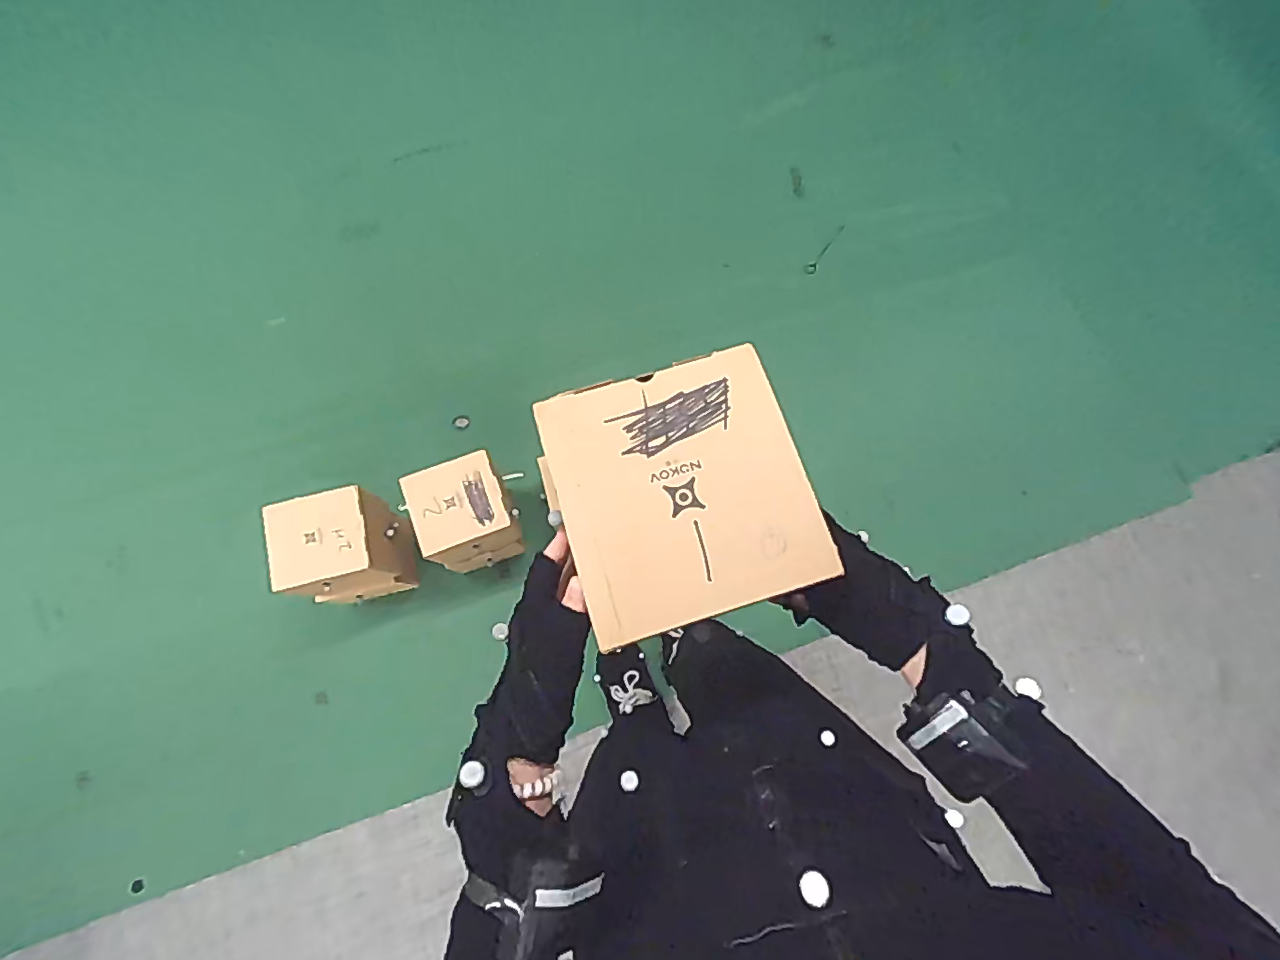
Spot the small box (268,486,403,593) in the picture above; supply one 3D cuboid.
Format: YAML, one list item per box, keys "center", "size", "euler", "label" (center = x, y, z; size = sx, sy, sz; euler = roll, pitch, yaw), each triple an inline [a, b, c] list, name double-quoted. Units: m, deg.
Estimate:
- center: [-0.606, 0.126, 1.092]
  size: [0.179, 0.176, 0.168]
  euler: [-13, 77, -7]
  label: "small box"

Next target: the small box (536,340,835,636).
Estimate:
- center: [0.025, 0.020, 0.441]
  size: [0.168, 0.176, 0.179]
  euler: [-16, 74, -4]
  label: "small box"

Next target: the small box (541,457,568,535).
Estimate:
- center: [-0.135, 0.028, 1.325]
  size: [0.179, 0.176, 0.168]
  euler: [-14, 77, -7]
  label: "small box"

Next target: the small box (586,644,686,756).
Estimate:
- center: [-0.009, 0.494, 1.236]
  size: [0.179, 0.176, 0.168]
  euler: [17, 89, 16]
  label: "small box"

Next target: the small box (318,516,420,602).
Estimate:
- center: [-0.624, 0.179, 1.247]
  size: [0.168, 0.176, 0.179]
  euler: [-12, 77, -7]
  label: "small box"
